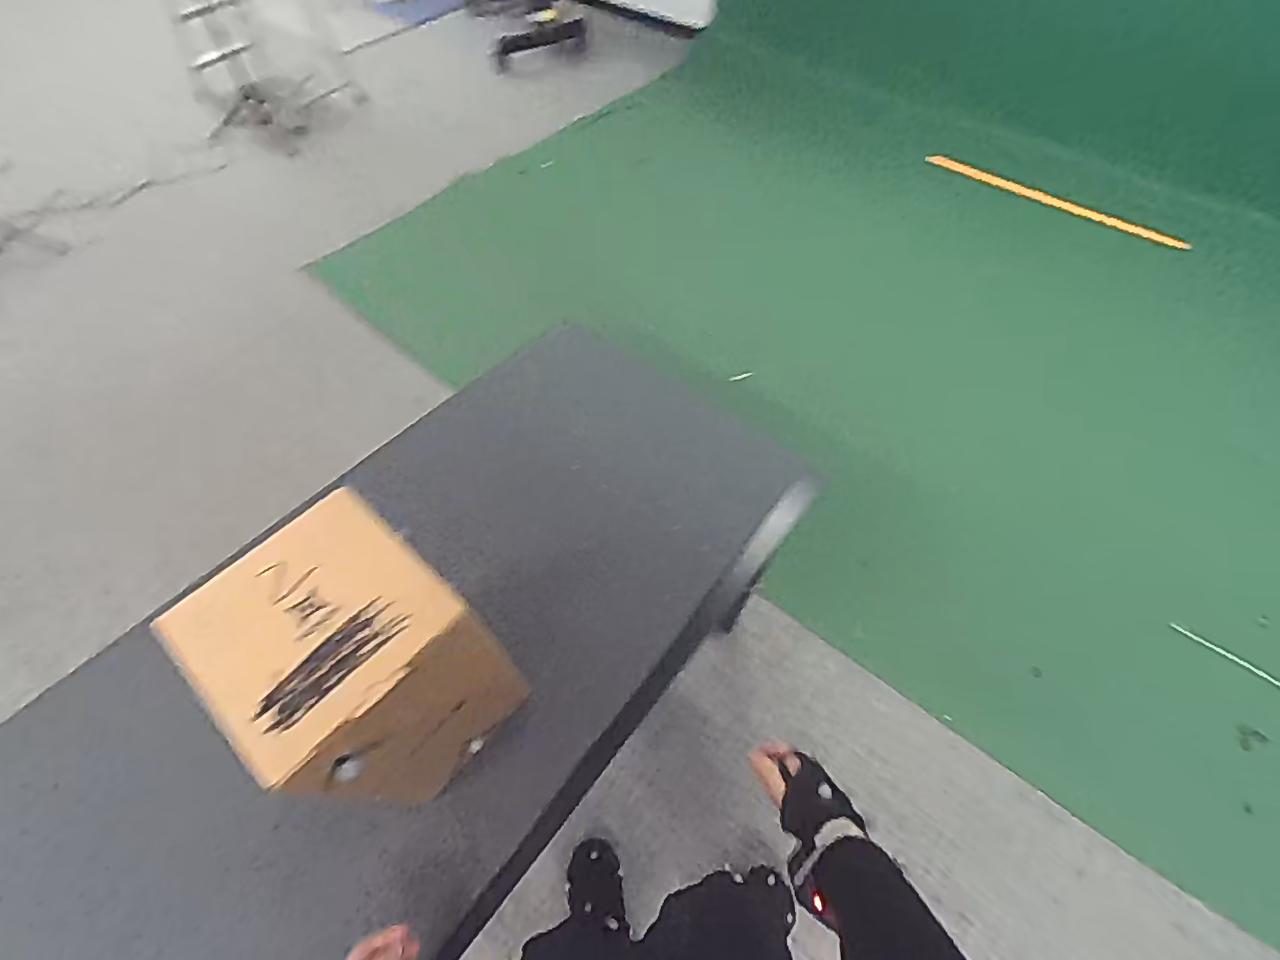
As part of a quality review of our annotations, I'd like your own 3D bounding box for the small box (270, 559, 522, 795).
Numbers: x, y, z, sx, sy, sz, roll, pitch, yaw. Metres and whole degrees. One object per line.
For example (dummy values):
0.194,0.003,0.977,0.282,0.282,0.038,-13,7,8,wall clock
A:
-0.261,0.229,0.616,0.179,0.176,0.168,36,63,21,small box
